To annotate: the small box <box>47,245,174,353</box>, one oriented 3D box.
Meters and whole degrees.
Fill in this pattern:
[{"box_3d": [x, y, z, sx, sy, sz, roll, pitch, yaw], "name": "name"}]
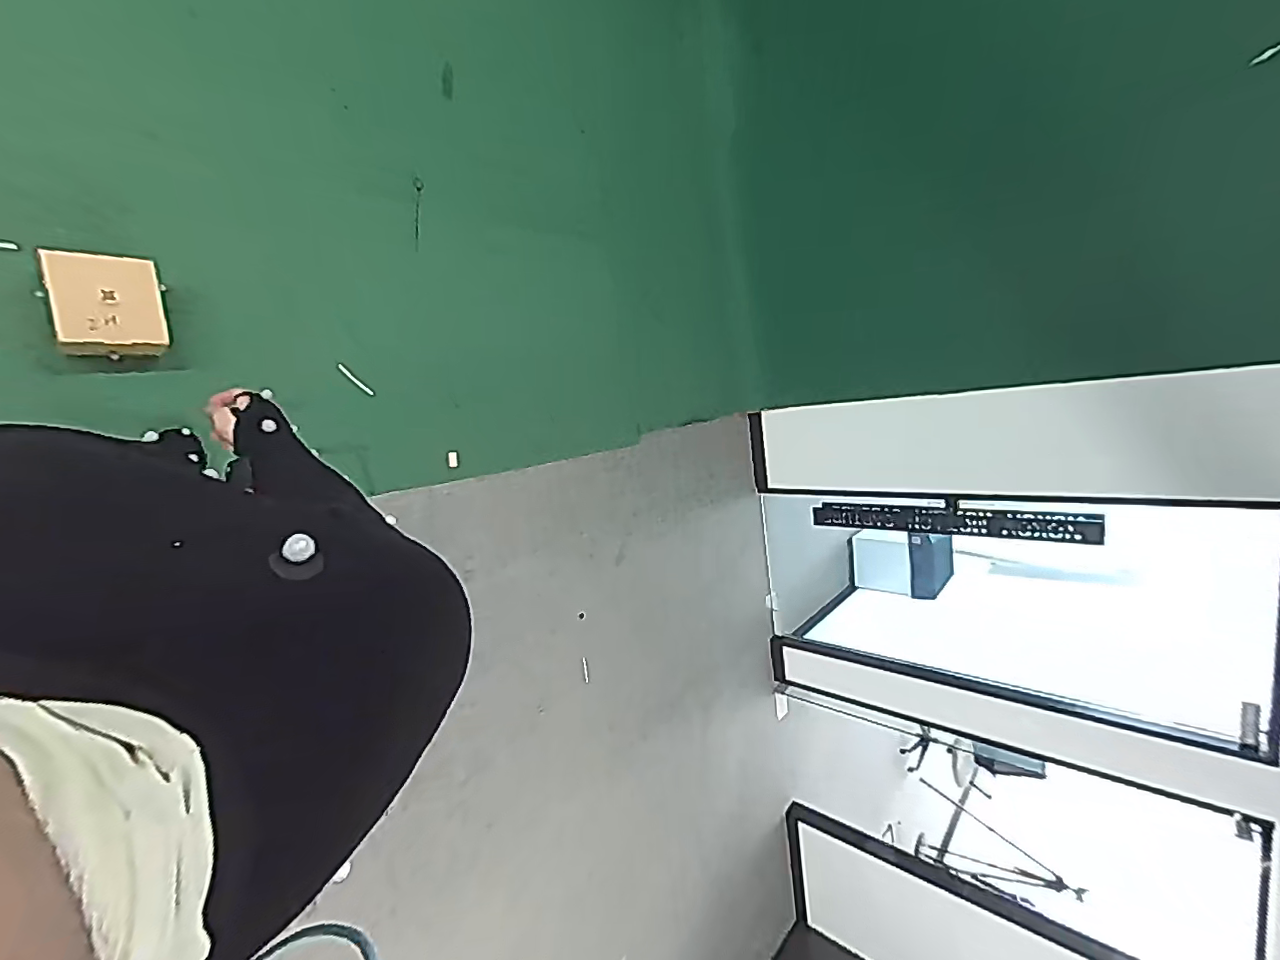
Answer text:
[{"box_3d": [-1.115, -0.371, 1.139, 0.168, 0.176, 0.179, -13, 101, -46], "name": "small box"}]
